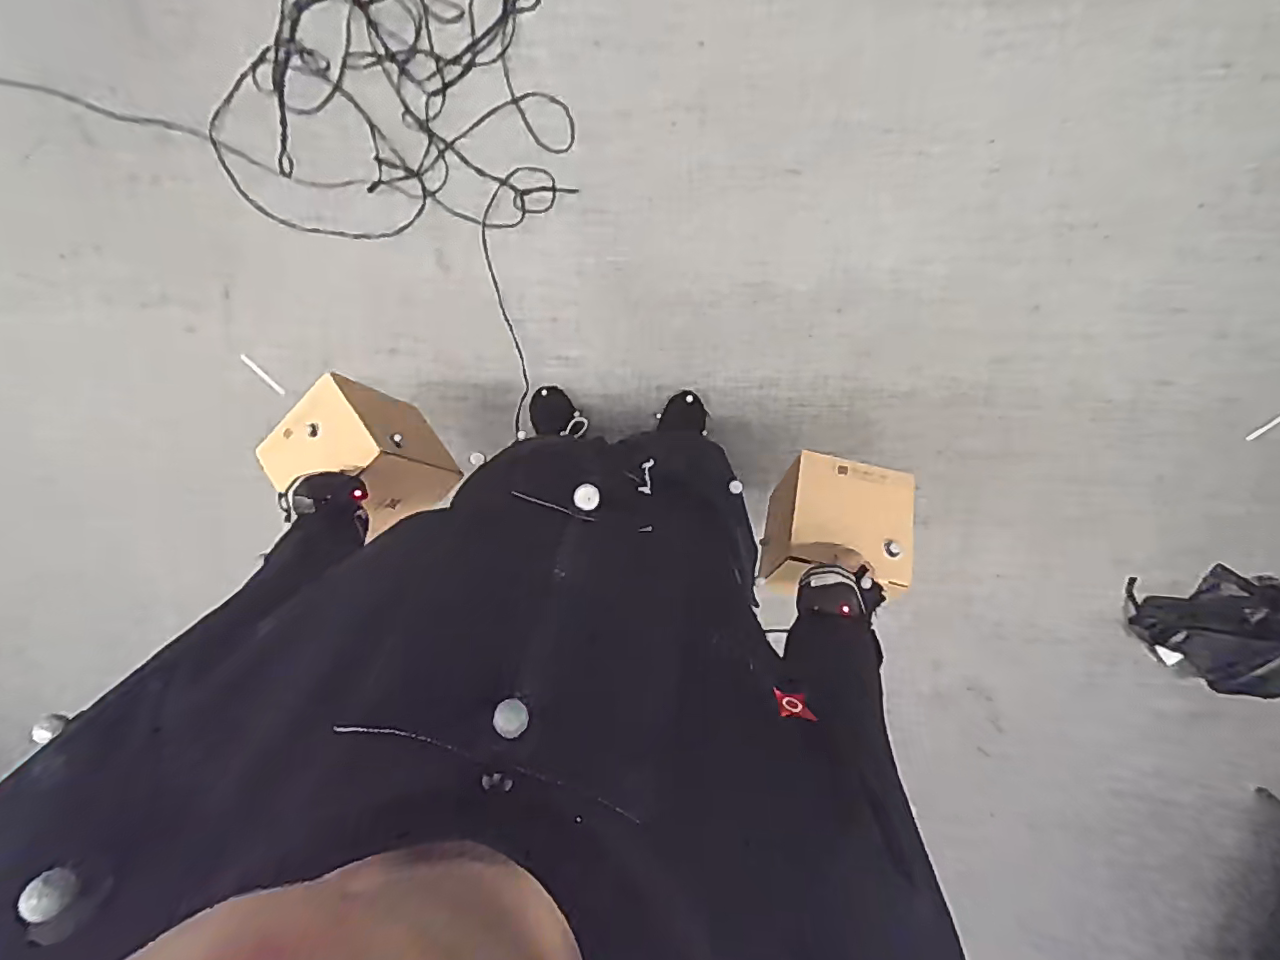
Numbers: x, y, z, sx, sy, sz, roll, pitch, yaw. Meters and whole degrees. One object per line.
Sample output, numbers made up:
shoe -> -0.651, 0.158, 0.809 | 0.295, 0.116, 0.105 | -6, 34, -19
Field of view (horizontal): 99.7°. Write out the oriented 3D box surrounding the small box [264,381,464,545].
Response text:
small box -> -0.412, -0.022, 0.817 | 0.168, 0.179, 0.176 | -43, 69, 8
